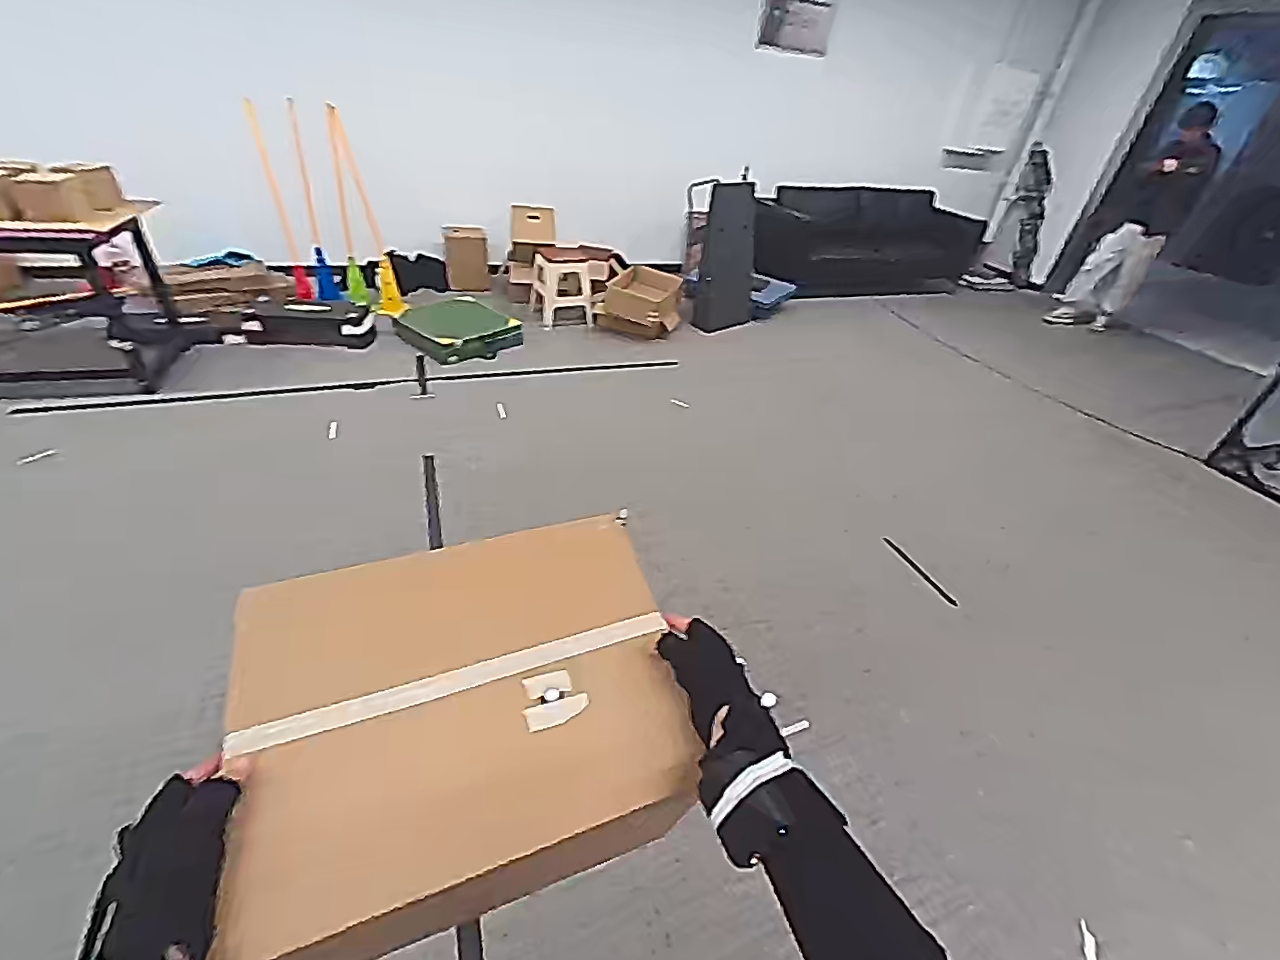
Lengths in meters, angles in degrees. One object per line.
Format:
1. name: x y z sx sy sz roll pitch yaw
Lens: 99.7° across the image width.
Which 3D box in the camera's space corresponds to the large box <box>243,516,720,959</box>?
1. large box: -0.178 0.291 0.647 0.408 0.320 0.320 -10 52 -20
